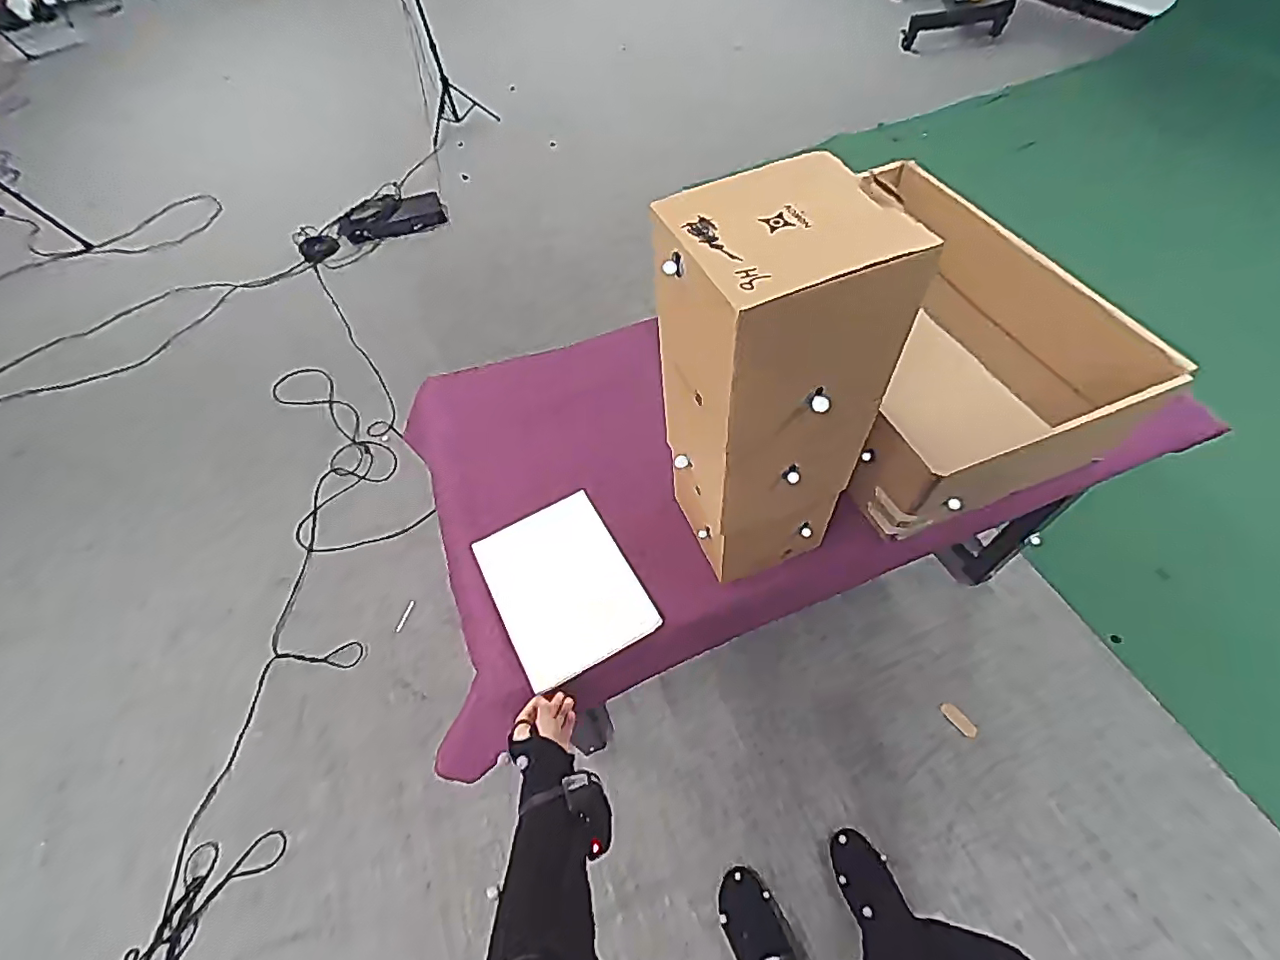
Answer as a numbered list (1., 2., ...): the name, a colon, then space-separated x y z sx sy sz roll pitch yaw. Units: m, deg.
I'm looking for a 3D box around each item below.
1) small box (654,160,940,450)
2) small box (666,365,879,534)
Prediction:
1. small box: 0.123 -0.157 0.500 0.179 0.176 0.168 -20 55 -9
2. small box: 0.139 -0.064 0.635 0.179 0.176 0.168 -20 55 -7
